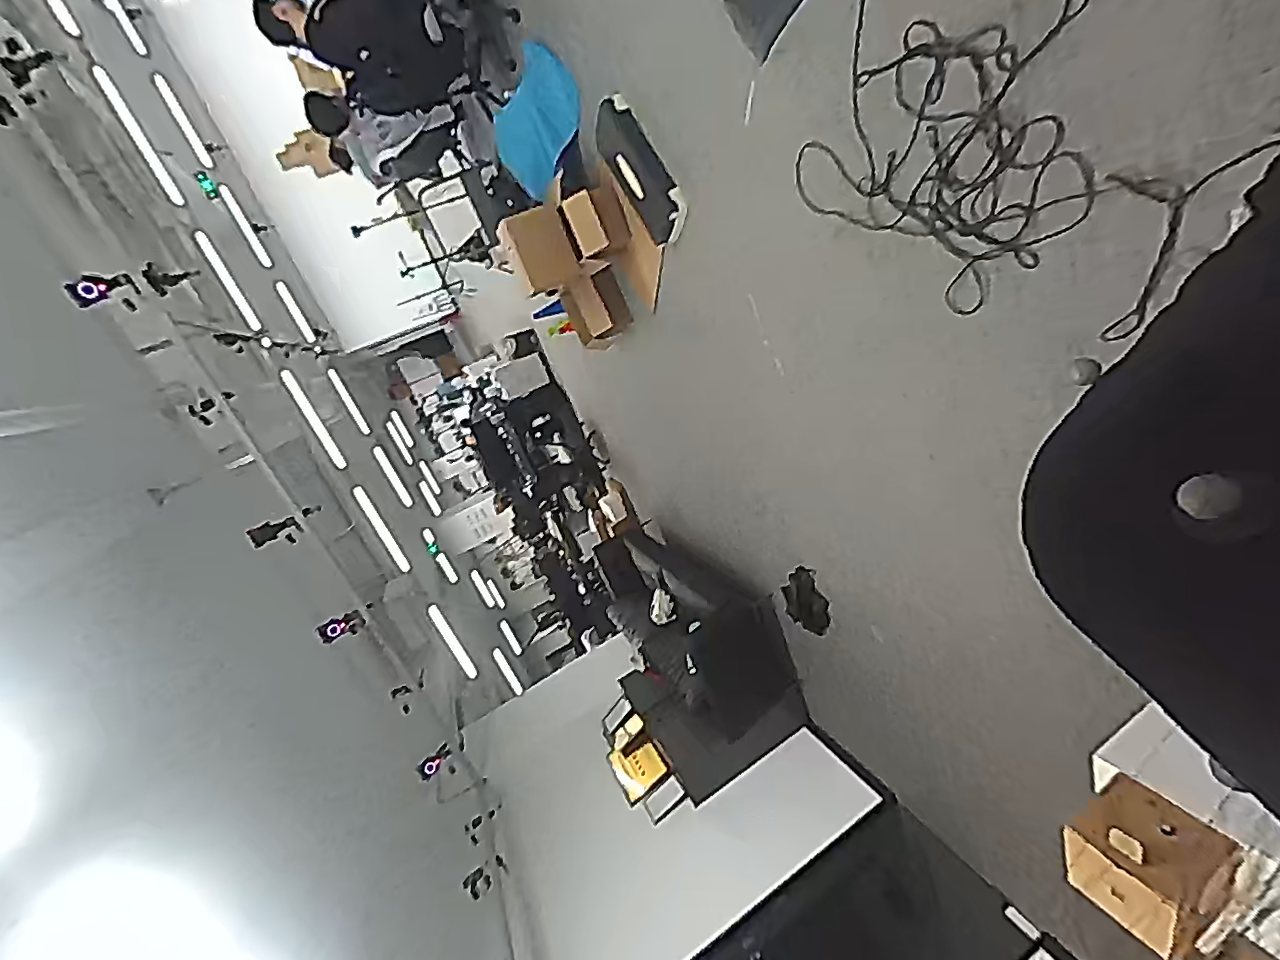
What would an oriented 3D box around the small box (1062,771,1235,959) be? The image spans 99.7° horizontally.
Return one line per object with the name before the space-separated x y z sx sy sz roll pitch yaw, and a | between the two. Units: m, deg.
small box | 0.889 0.667 0.951 0.168 0.176 0.179 31 146 63
